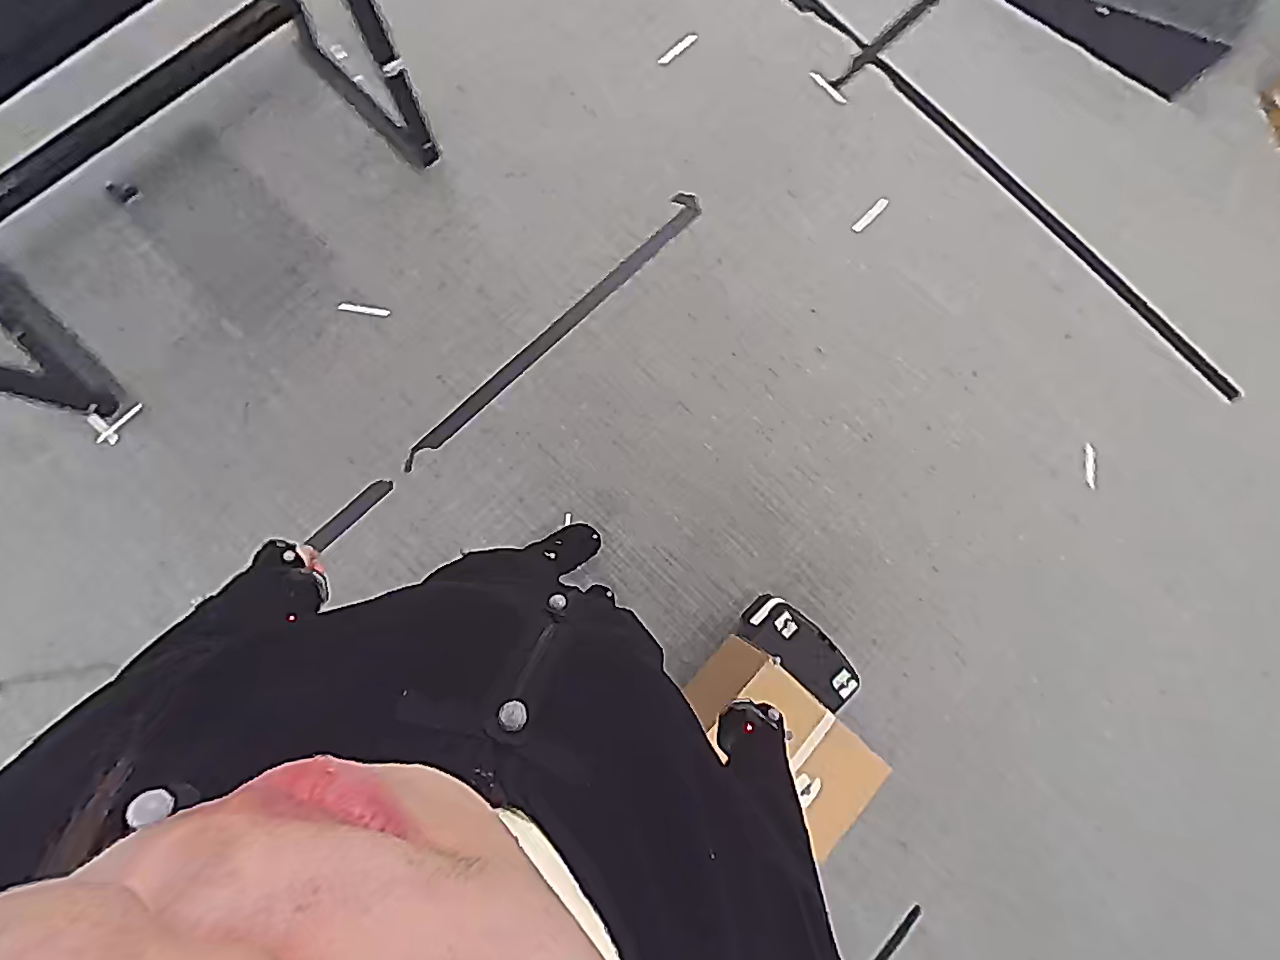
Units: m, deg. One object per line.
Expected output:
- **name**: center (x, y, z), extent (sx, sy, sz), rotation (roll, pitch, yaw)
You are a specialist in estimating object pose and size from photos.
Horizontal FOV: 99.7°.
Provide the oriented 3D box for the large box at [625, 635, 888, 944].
- **large box**: center (0.213, 0.597, 1.132), extent (0.320, 0.320, 0.408), rotation (43, 81, 1)
